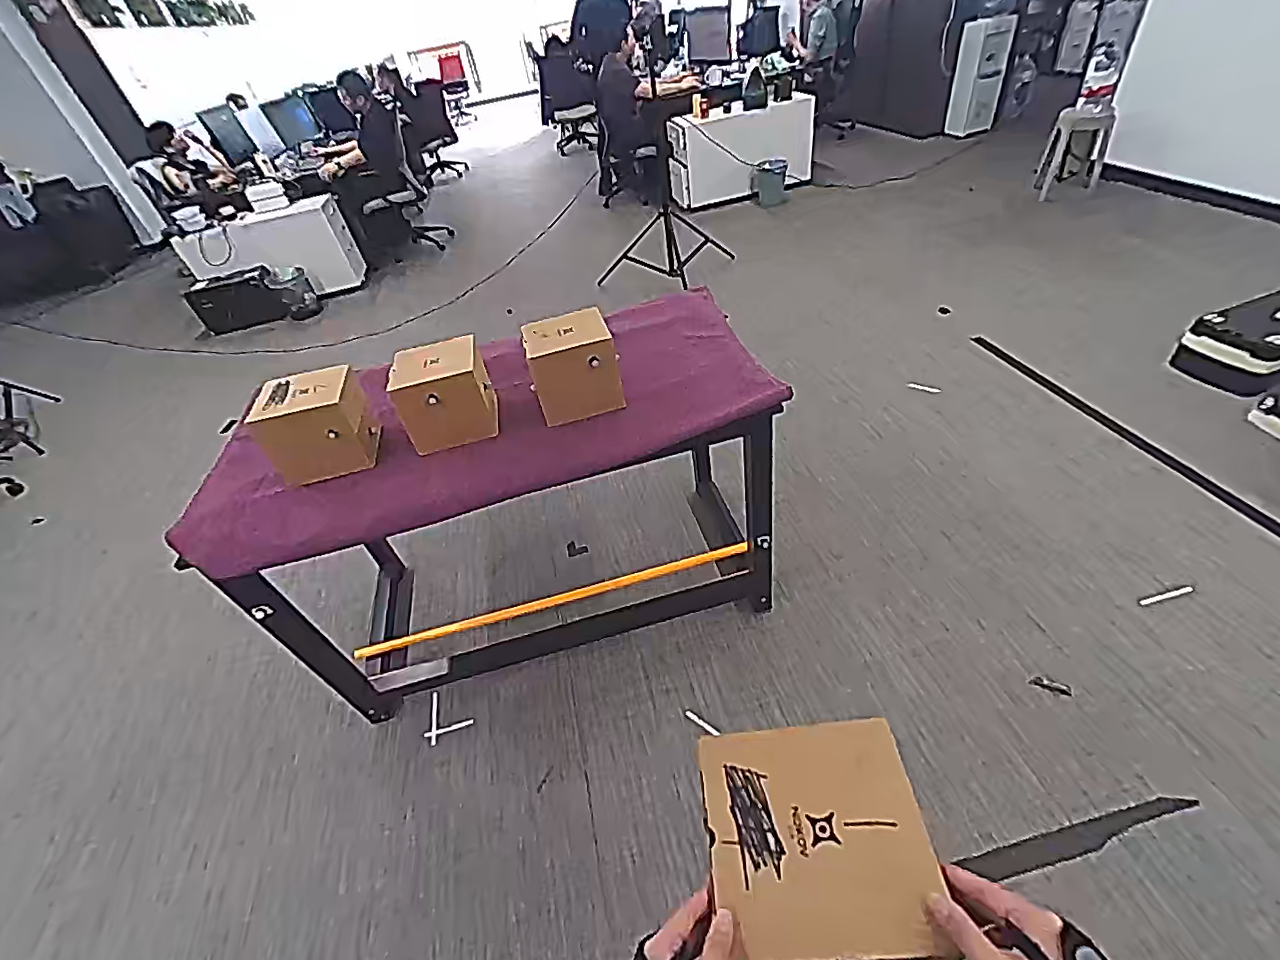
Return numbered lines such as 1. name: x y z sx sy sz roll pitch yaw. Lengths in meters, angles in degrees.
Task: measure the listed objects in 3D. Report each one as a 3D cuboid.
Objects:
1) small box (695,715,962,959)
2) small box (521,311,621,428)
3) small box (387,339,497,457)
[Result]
1. small box: 0.154 0.338 0.490 0.179 0.176 0.168 -9 41 7
2. small box: -0.145 -0.238 1.169 0.179 0.176 0.168 -16 40 -4
3. small box: -0.416 -0.175 1.169 0.179 0.176 0.168 -16 42 -4
